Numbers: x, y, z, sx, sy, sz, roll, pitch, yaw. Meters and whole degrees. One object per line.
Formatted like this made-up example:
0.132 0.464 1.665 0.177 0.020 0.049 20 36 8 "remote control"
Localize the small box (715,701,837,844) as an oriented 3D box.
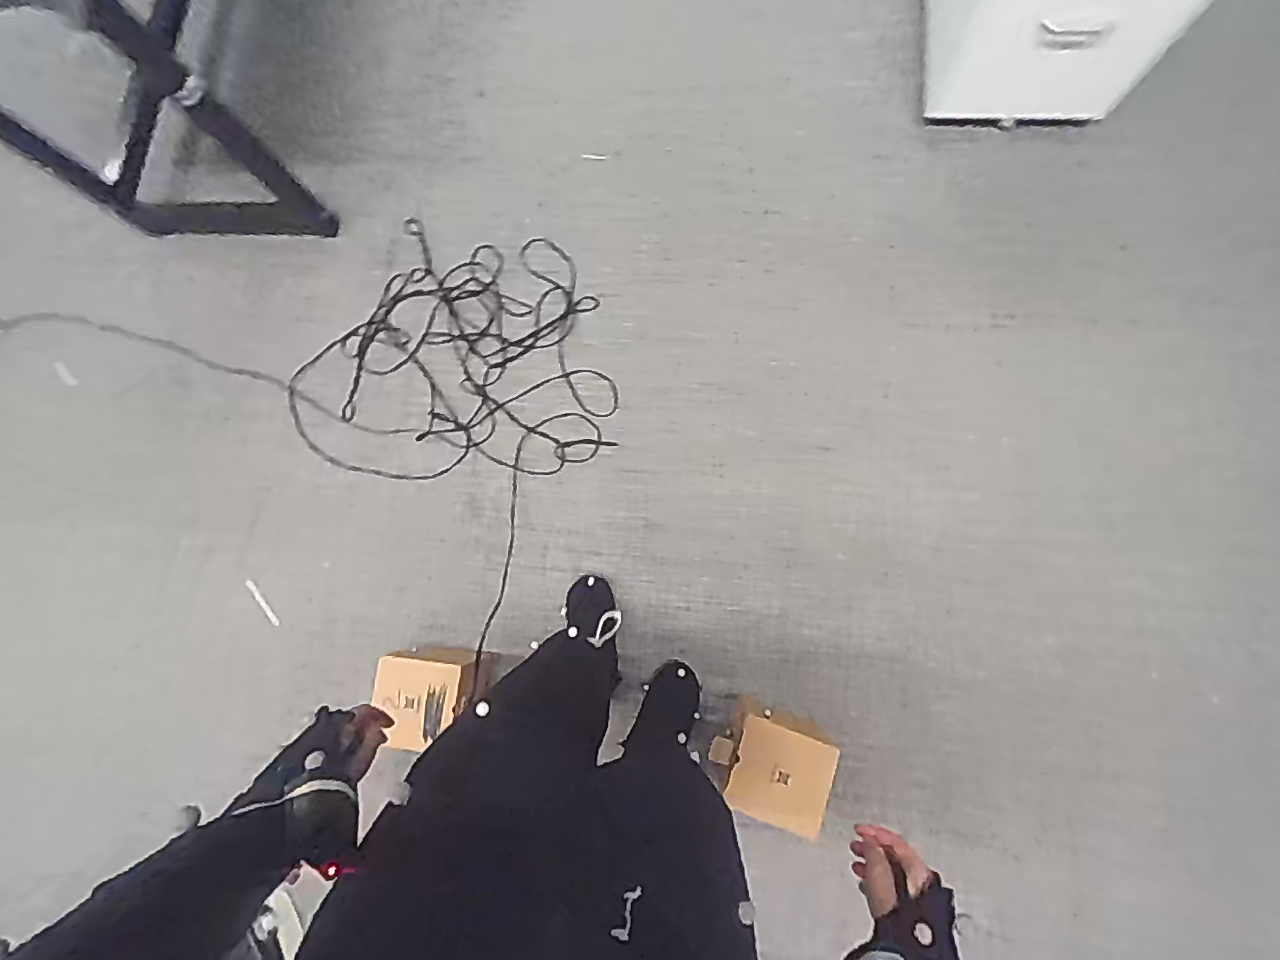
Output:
0.253 0.550 1.046 0.179 0.176 0.168 18 82 9 "small box"
